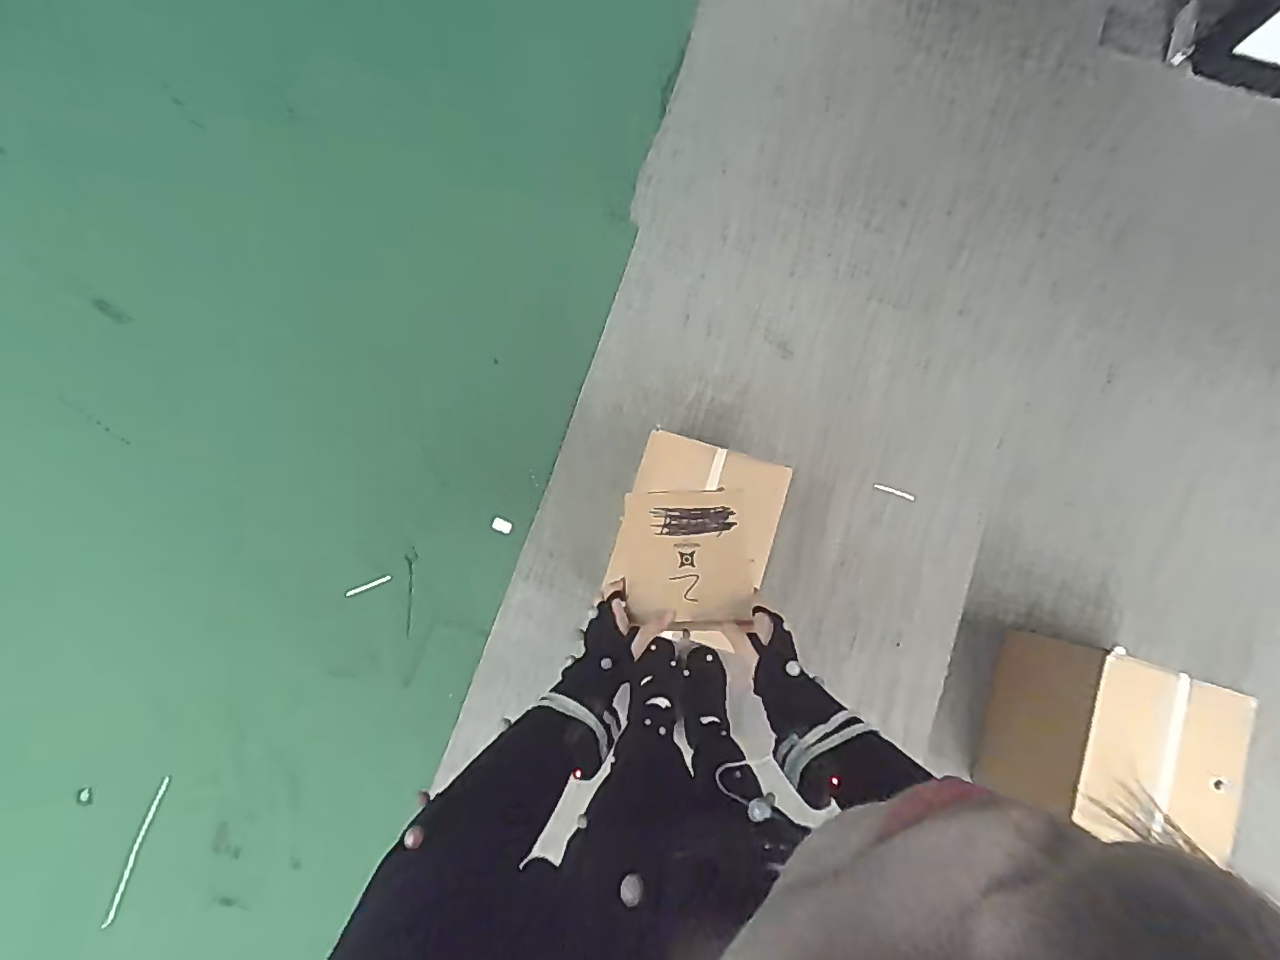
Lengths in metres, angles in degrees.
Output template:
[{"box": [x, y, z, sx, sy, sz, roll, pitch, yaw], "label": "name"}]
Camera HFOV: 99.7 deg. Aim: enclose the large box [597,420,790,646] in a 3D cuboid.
[{"box": [0.115, 0.122, 1.254, 0.320, 0.320, 0.408, 17, 85, 2], "label": "large box"}]
